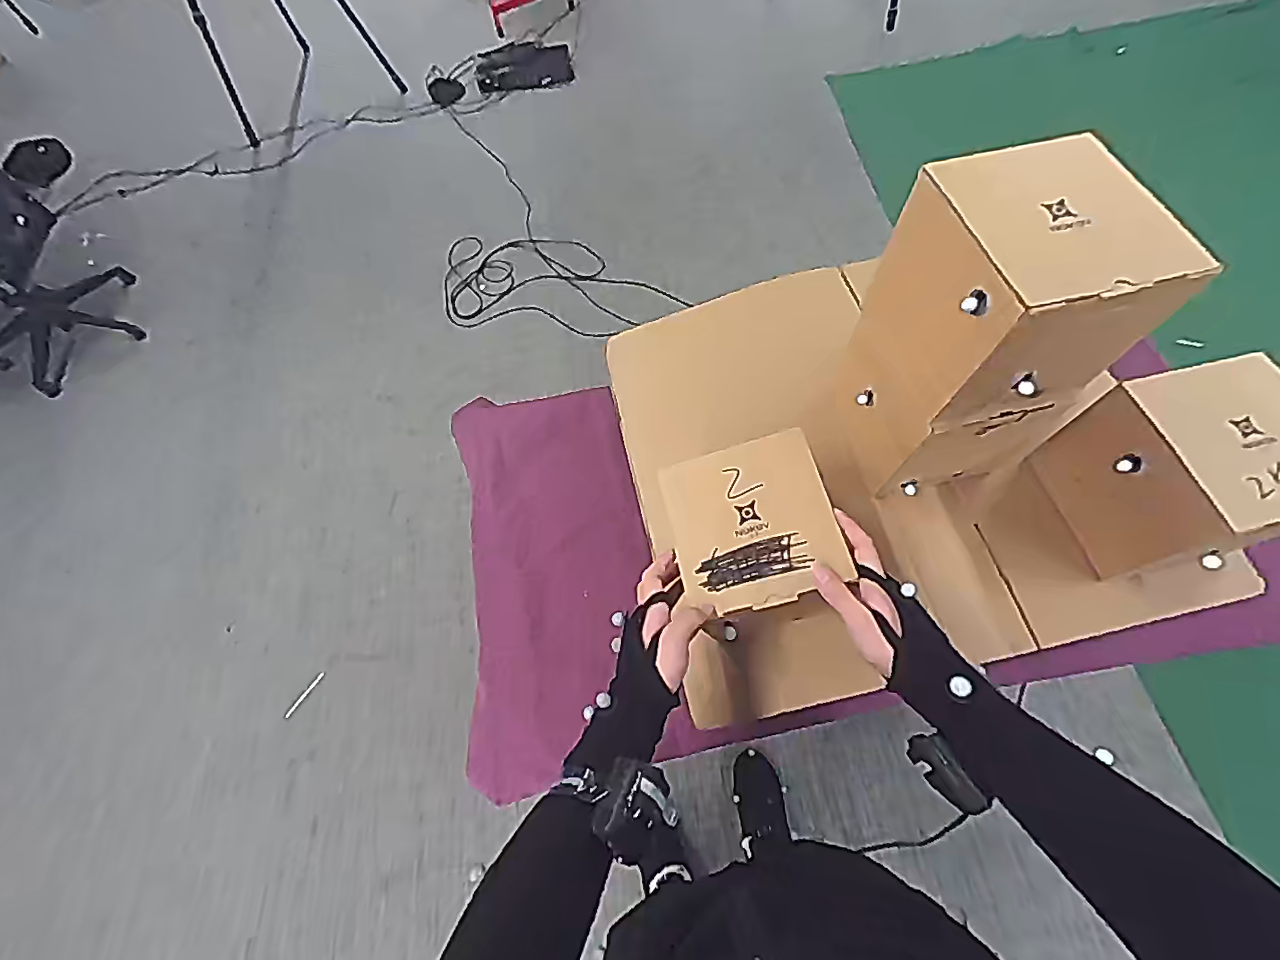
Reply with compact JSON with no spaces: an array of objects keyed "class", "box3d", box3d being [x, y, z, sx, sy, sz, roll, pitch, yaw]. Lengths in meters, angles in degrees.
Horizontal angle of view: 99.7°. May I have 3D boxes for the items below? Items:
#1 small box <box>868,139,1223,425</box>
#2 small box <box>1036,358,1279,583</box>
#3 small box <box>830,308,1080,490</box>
[{"class":"small box","box3d":[0.347,-0.179,0.512,0.168,0.176,0.179,-13,65,-5]},{"class":"small box","box3d":[0.597,-0.004,0.598,0.168,0.176,0.179,-12,64,-3]},{"class":"small box","box3d":[0.356,-0.101,0.654,0.168,0.176,0.179,-12,63,-4]}]
